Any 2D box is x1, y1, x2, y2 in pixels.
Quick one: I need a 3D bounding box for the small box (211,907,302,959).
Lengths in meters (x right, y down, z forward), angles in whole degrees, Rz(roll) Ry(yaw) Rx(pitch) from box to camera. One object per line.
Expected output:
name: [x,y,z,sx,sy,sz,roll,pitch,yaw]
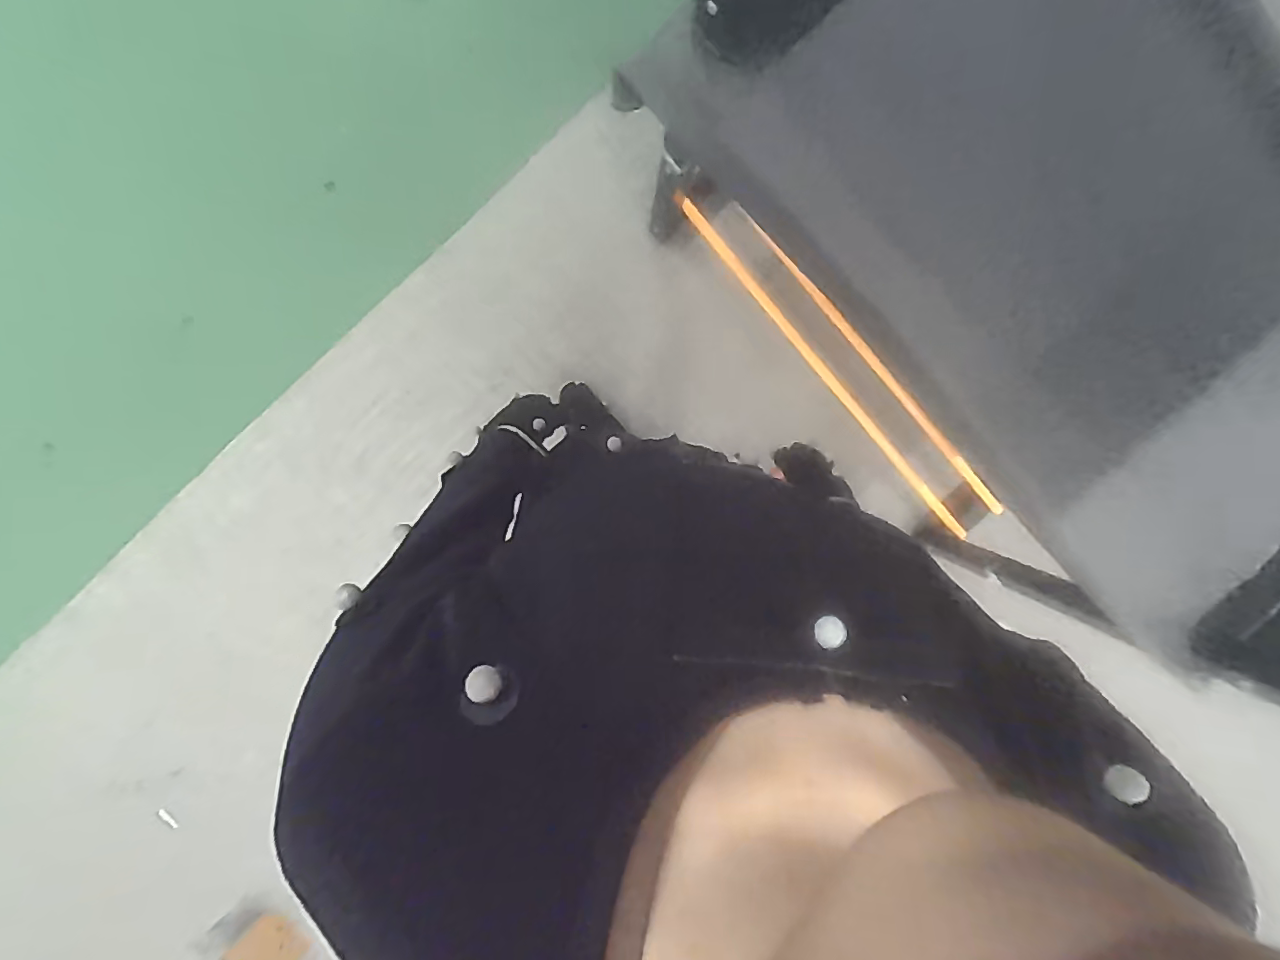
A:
small box: [-1.108,1.375,1.524,0.179,0.176,0.168,-42,97,3]
